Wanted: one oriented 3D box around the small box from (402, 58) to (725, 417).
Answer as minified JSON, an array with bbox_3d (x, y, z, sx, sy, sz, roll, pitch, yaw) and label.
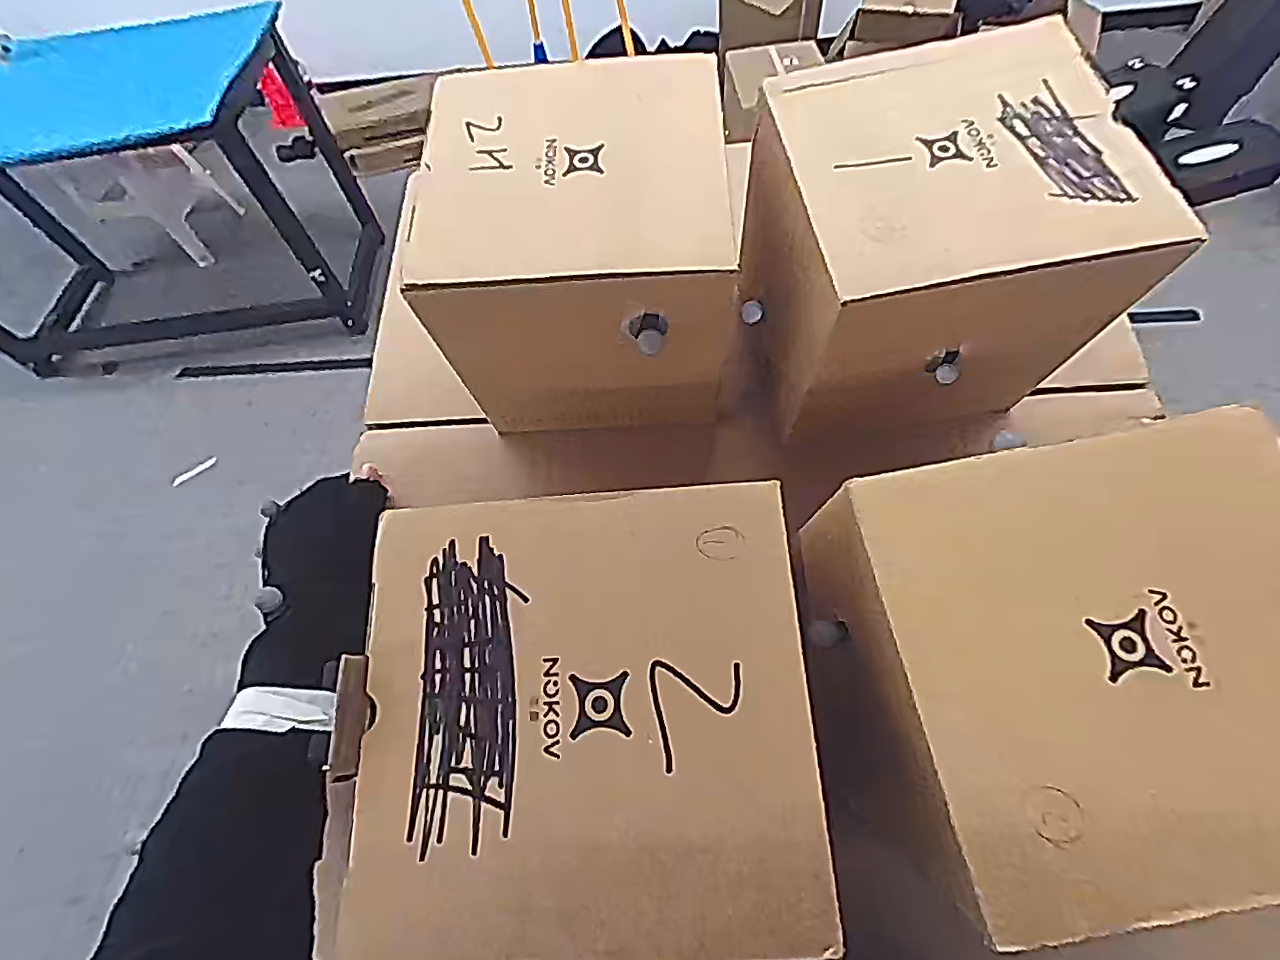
[{"bbox_3d":[-0.037,-0.155,0.389,0.179,0.176,0.168,-2,69,4],"label":"small box"}]
